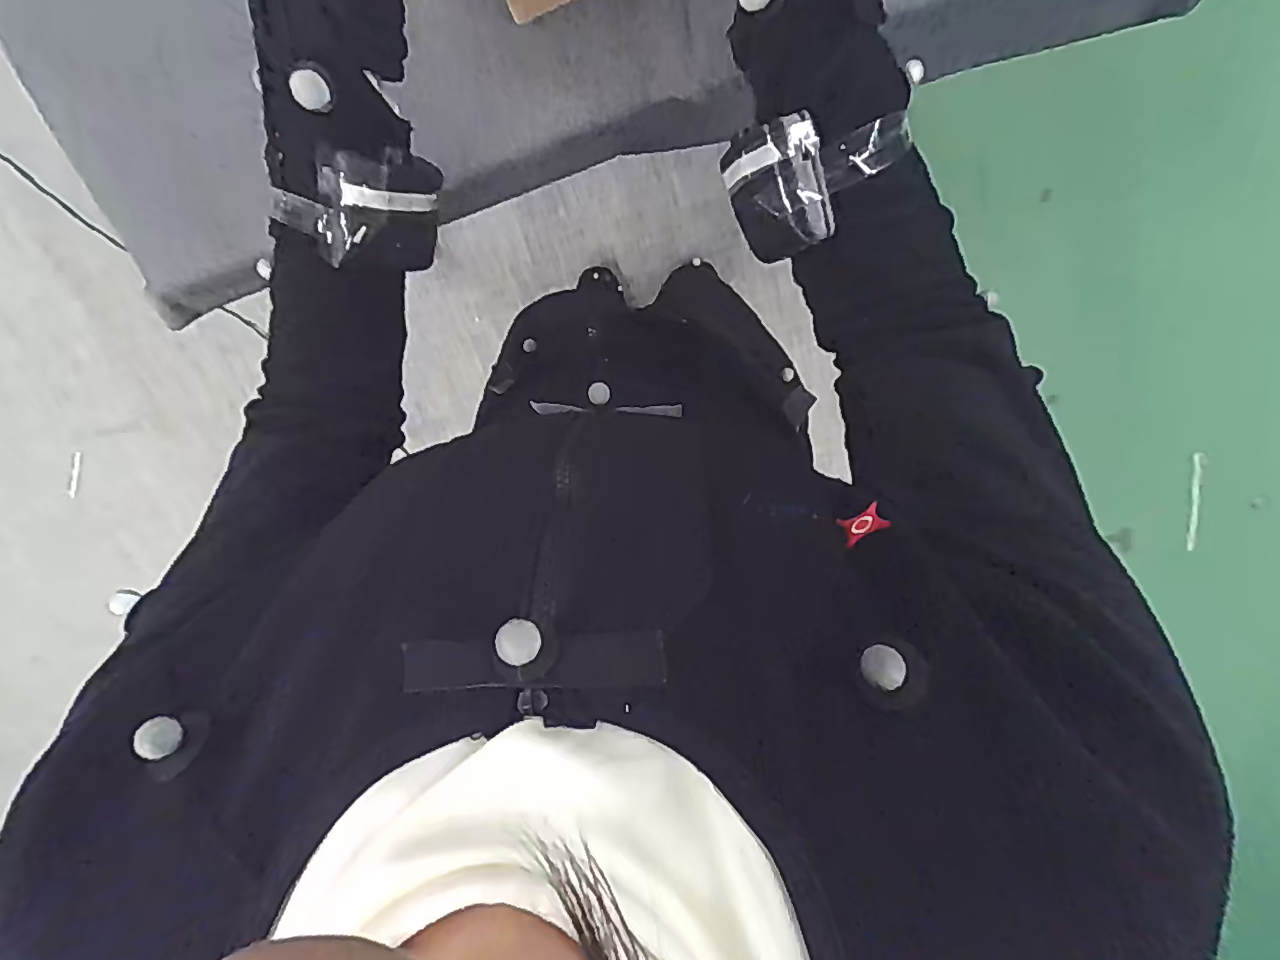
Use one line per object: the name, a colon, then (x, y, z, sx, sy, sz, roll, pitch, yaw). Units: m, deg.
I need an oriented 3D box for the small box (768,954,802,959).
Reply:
small box: (0.465, 1.650, 1.707, 0.179, 0.176, 0.168, -21, 108, 8)
